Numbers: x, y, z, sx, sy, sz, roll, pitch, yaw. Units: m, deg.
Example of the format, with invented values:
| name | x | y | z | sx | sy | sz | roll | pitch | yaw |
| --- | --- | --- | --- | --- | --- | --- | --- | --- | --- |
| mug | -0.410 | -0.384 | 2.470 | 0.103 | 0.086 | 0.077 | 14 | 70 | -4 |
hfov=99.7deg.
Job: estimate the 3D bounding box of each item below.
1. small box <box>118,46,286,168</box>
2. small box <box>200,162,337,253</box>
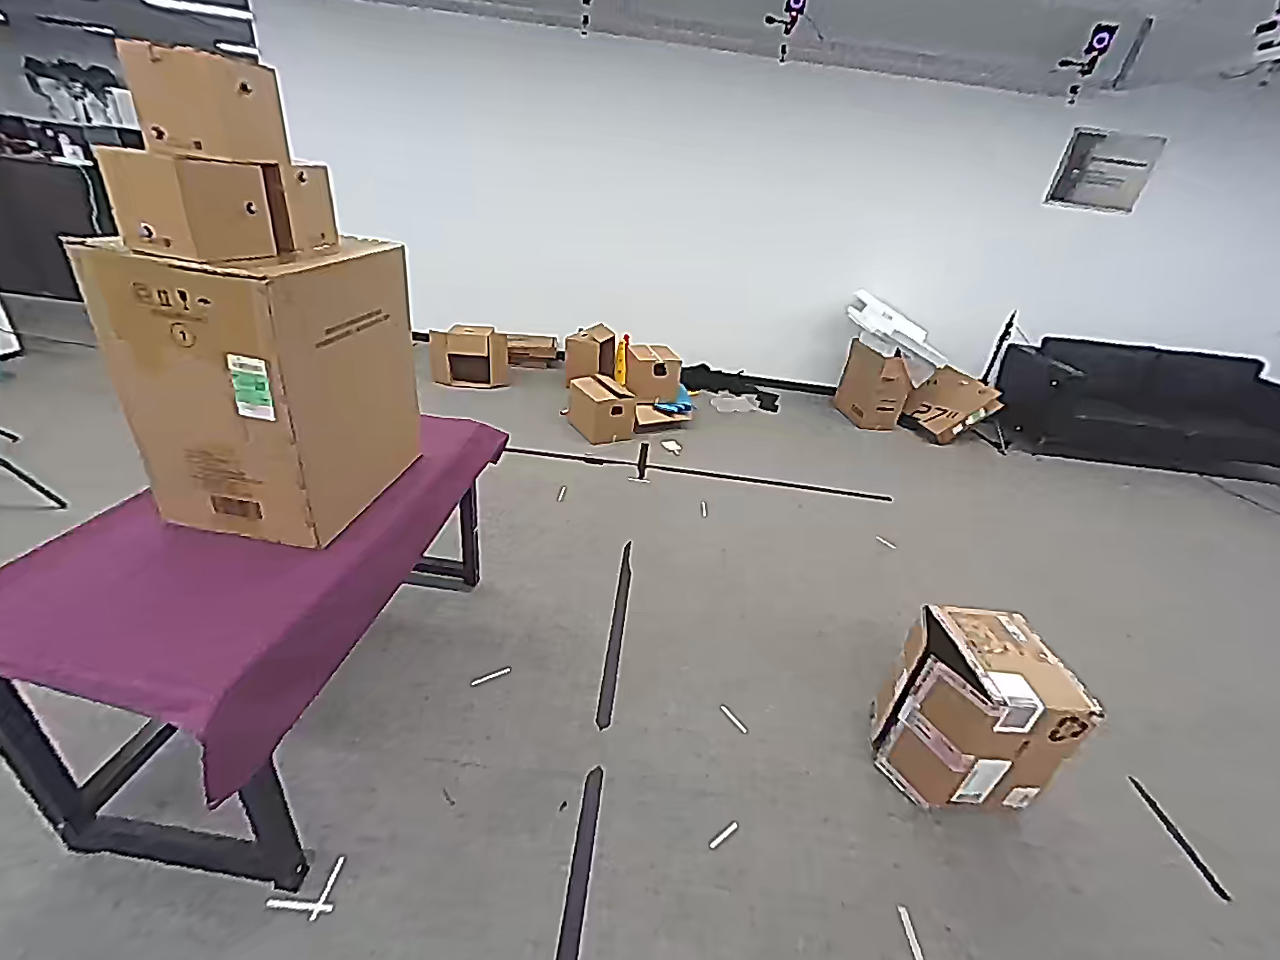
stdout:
| name | x | y | z | sx | sy | sz | roll | pitch | yaw |
| --- | --- | --- | --- | --- | --- | --- | --- | --- | --- |
| small box | -0.819 | -0.702 | 1.037 | 0.168 | 0.176 | 0.179 | 7 | 28 | 0 |
| small box | -0.824 | -0.615 | 1.219 | 0.179 | 0.176 | 0.168 | 8 | 30 | 2 |
